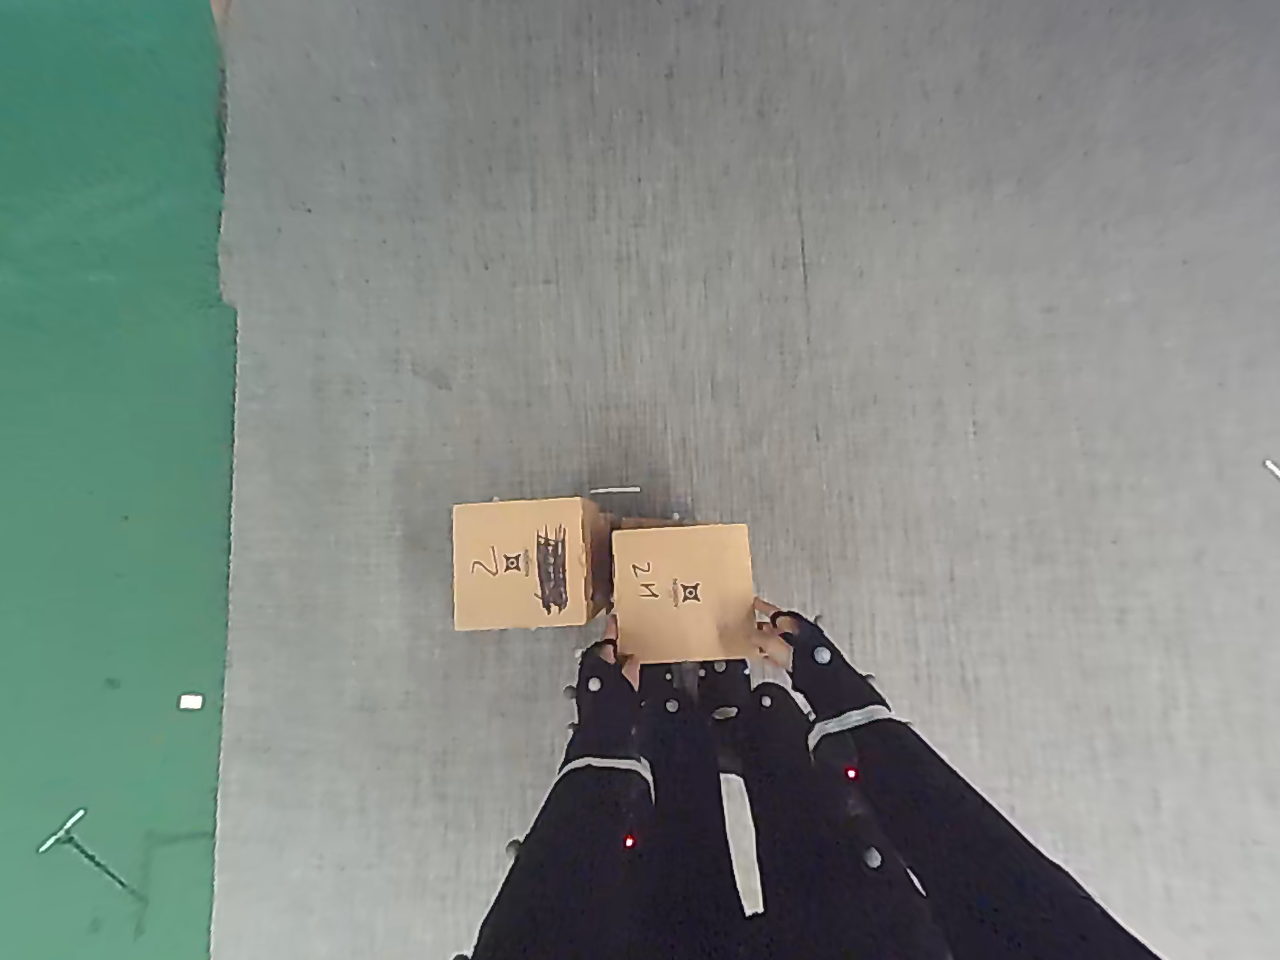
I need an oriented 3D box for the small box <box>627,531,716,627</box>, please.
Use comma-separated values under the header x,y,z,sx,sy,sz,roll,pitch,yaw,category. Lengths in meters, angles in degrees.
x,y,z,sx,sy,sz,roll,pitch,yaw,category
0.060,0.194,1.093,0.168,0.176,0.179,-3,84,3,small box
